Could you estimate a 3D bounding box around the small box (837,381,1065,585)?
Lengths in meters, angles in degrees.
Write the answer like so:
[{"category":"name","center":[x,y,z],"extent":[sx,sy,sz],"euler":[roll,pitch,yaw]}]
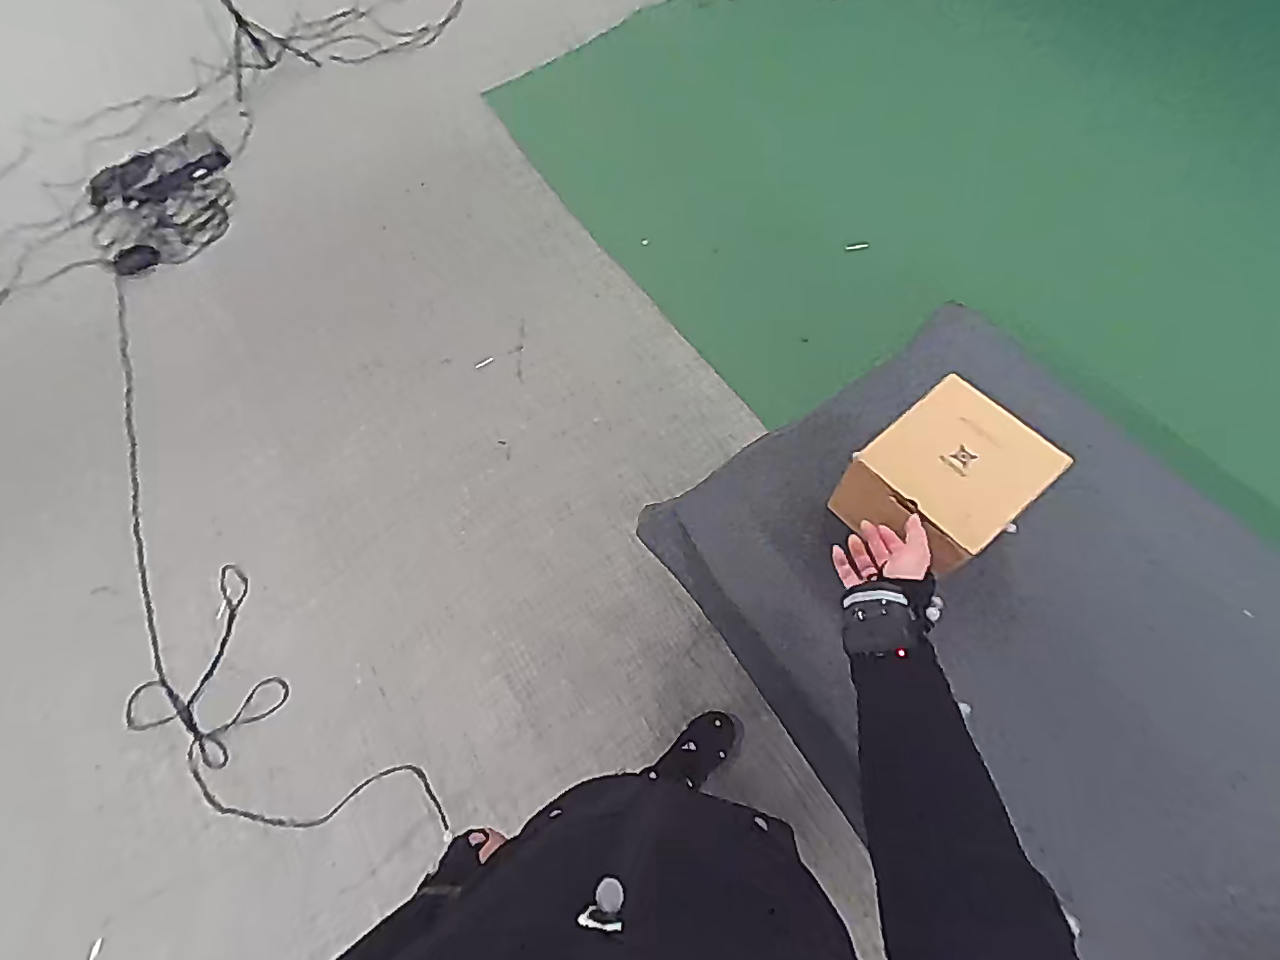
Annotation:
[{"category":"small box","center":[0.383,0.013,0.708],"extent":[0.179,0.176,0.168],"euler":[-39,69,-11]}]
